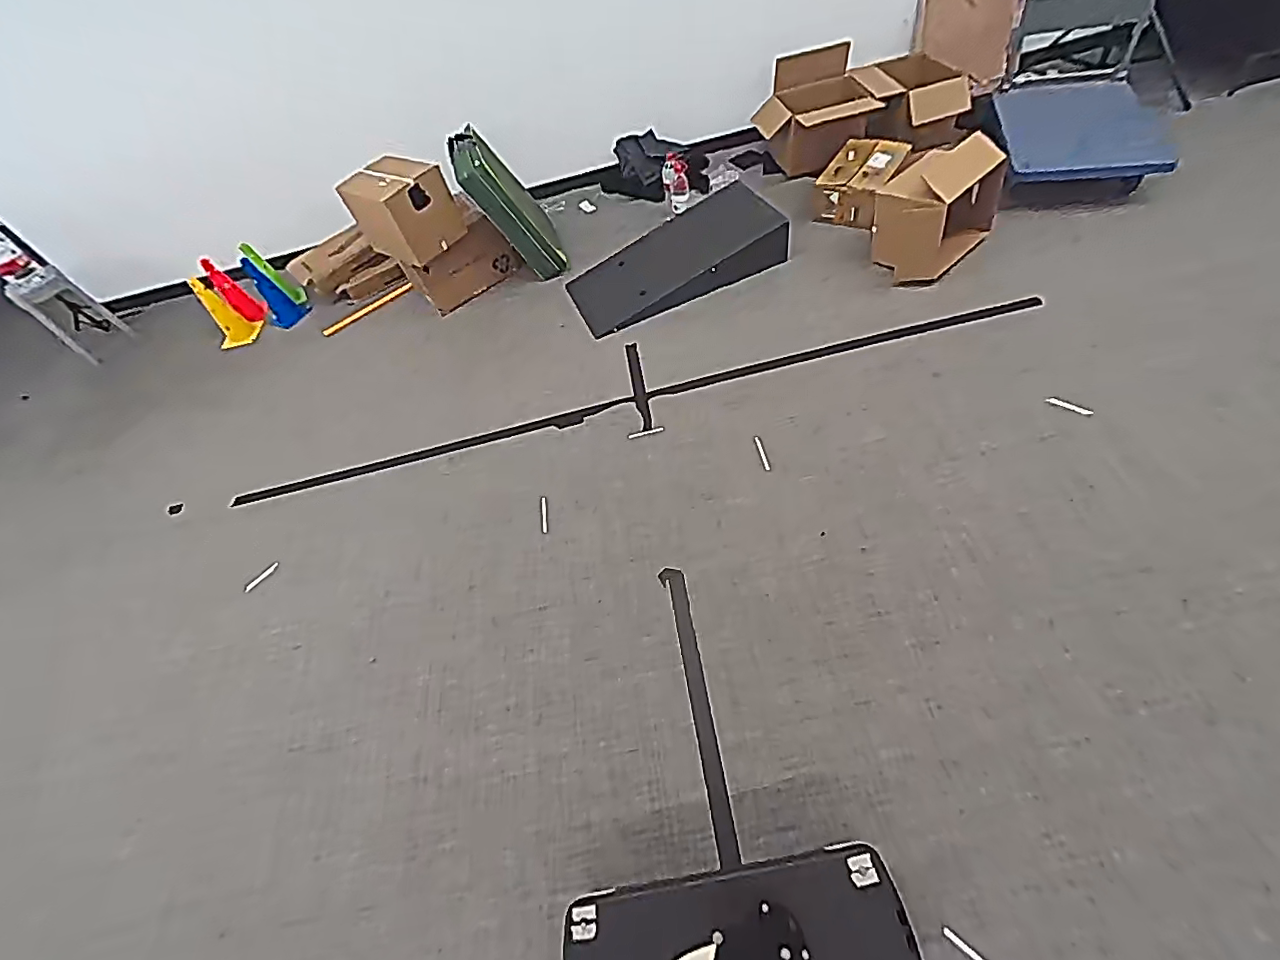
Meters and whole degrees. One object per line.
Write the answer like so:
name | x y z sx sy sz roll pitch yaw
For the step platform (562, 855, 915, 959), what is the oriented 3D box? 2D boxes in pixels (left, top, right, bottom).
step platform | 0.186 0.974 1.069 0.684 0.204 0.286 -13 53 2
